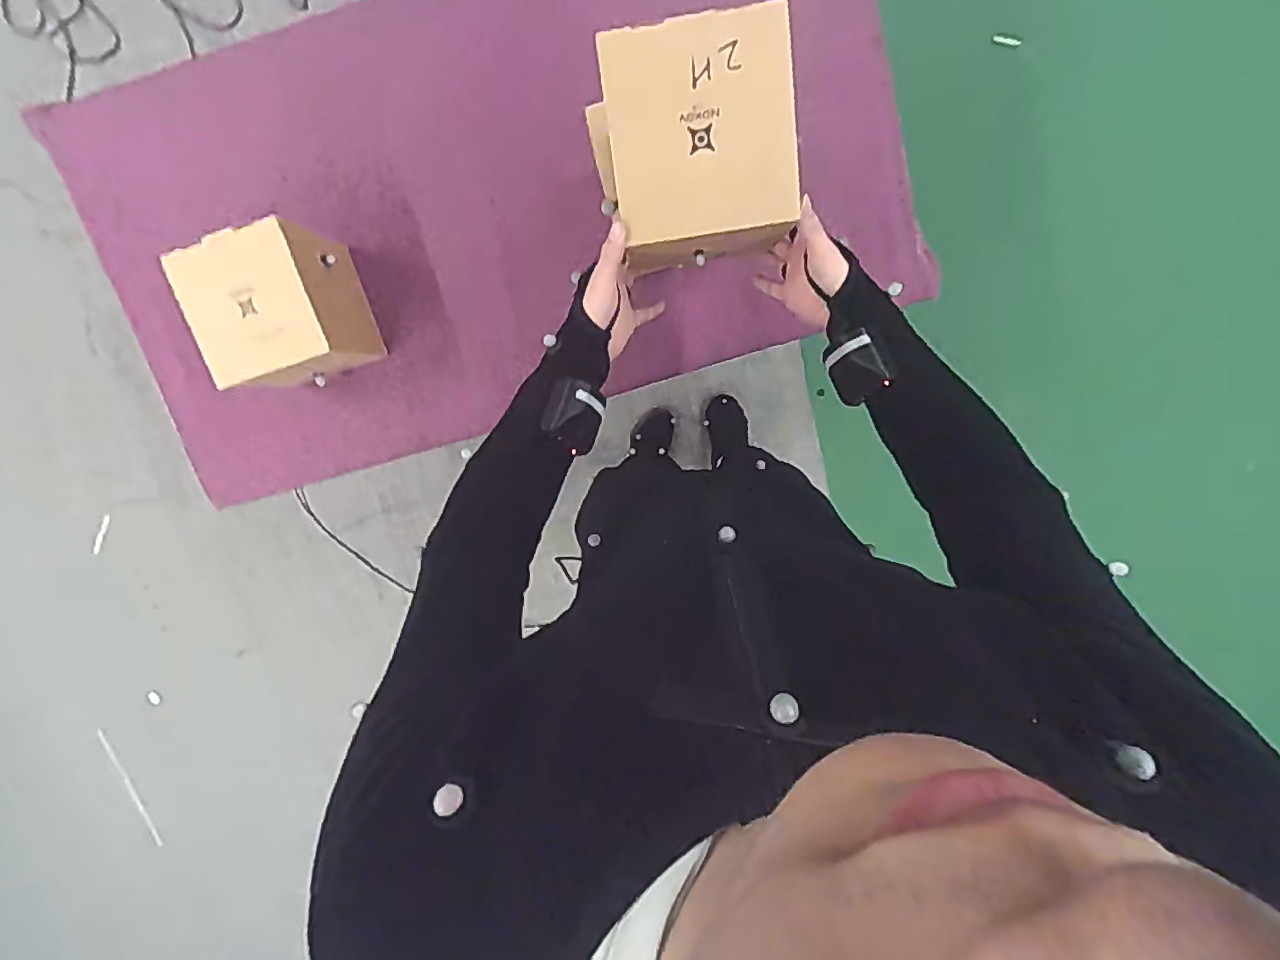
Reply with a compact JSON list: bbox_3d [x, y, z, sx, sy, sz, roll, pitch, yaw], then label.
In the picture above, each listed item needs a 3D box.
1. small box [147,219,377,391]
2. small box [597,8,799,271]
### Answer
[{"bbox_3d":[-0.506,-0.230,0.754,0.168,0.176,0.179,-17,100,3],"label":"small box"},{"bbox_3d":[0.056,-0.316,0.545,0.168,0.176,0.179,-6,103,3],"label":"small box"}]
